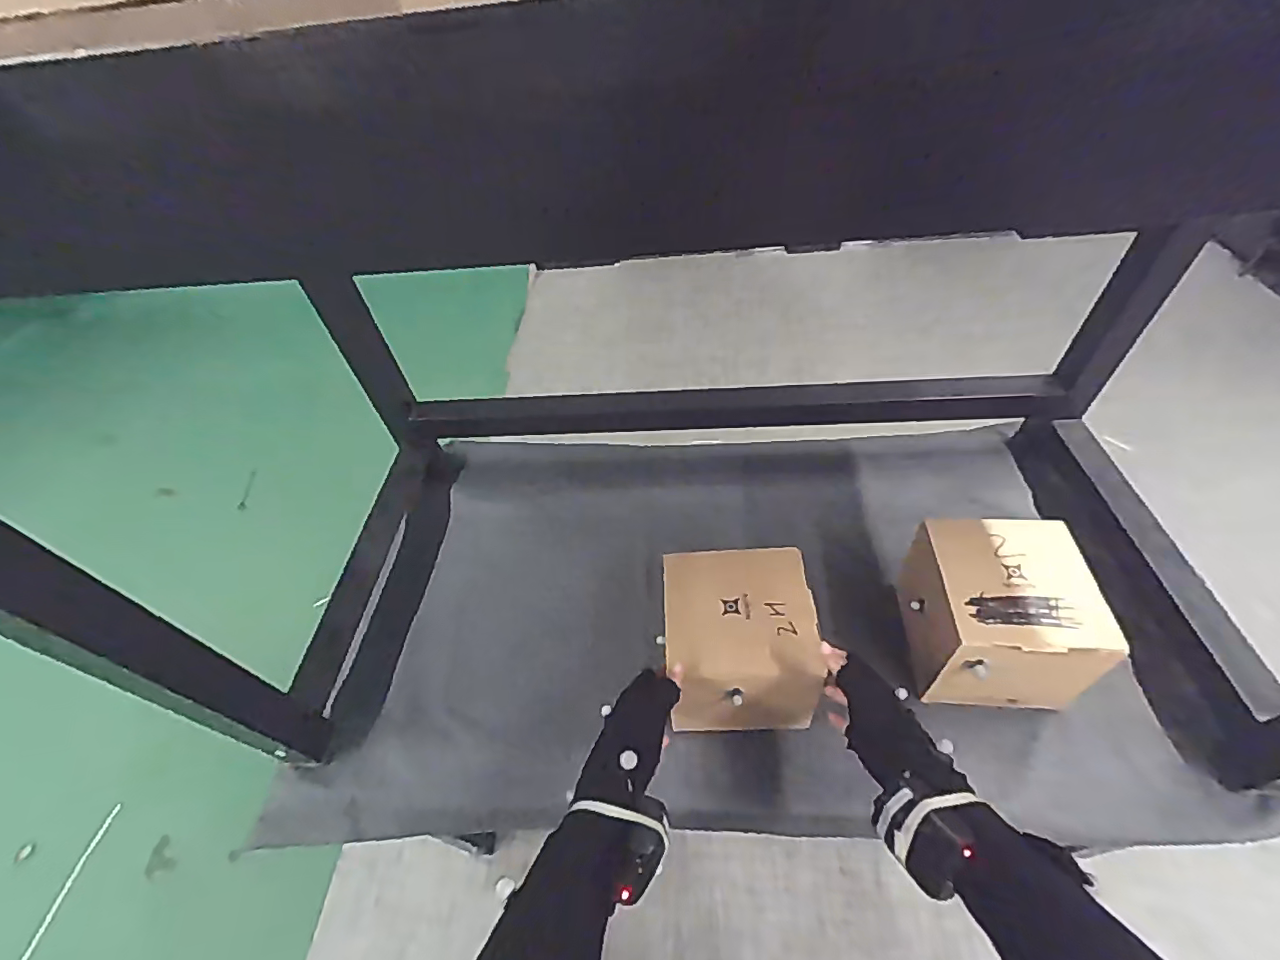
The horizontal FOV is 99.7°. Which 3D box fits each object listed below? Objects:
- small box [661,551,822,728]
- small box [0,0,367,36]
[{"bbox_3d":[0.121,0.209,0.696,0.179,0.176,0.168,-3,48,5],"label":"small box"},{"bbox_3d":[-0.171,-0.275,0.185,0.168,0.176,0.179,-3,48,5],"label":"small box"}]
